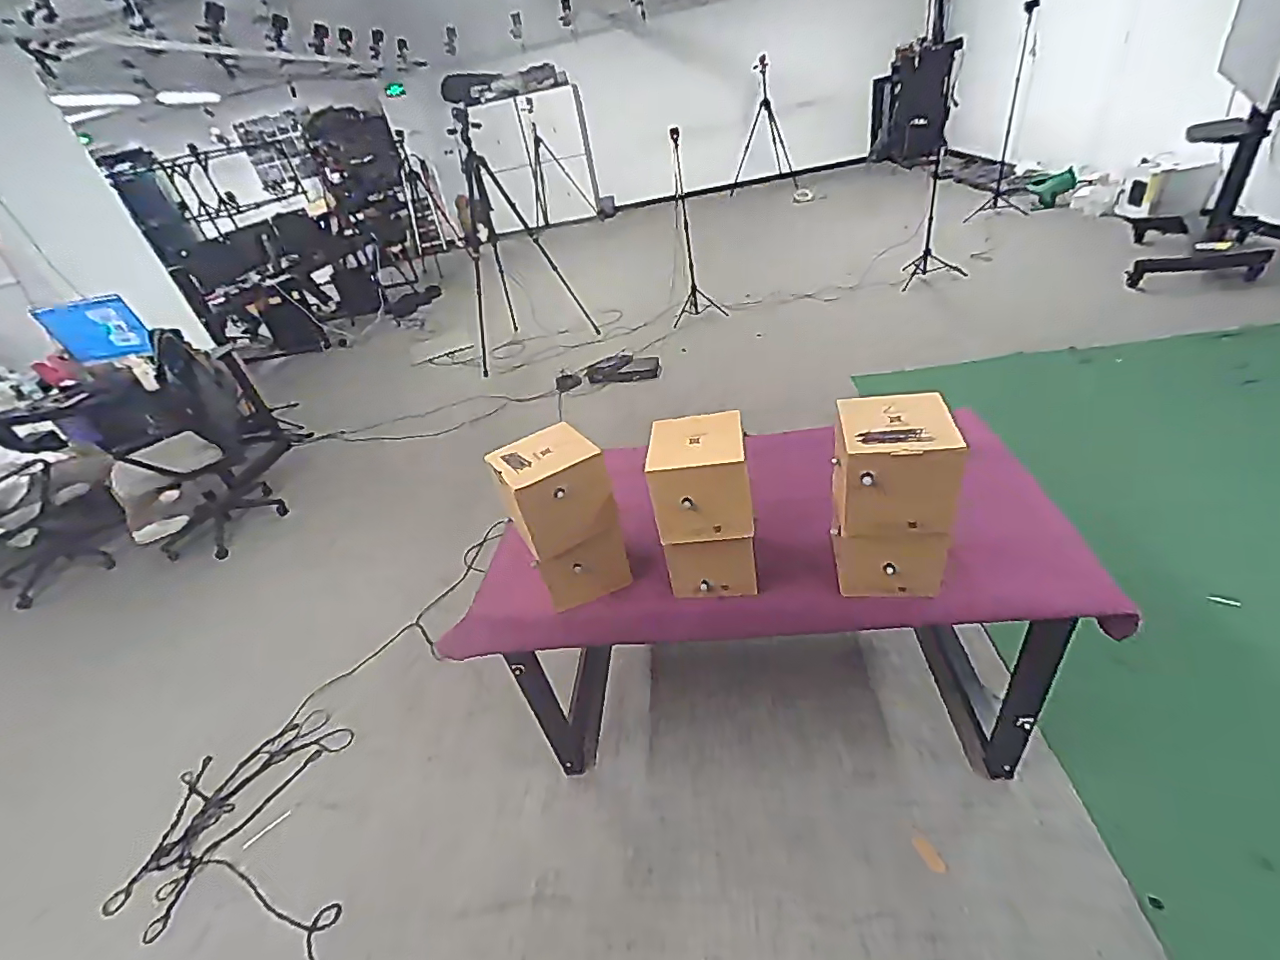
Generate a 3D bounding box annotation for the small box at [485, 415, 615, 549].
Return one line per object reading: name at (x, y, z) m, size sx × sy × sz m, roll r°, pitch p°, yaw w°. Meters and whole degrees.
small box at (-0.169, 0.004, 1.039) m, size 0.179 × 0.176 × 0.168 m, roll -26°, pitch 37°, yaw -21°

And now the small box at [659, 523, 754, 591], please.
small box at (0.139, 0.104, 1.094) m, size 0.168 × 0.176 × 0.179 m, roll -6°, pitch 35°, yaw 12°

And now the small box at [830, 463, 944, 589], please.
small box at (0.453, 0.088, 1.016) m, size 0.168 × 0.176 × 0.179 m, roll -2°, pitch 37°, yaw 14°

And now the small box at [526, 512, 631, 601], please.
small box at (-0.137, 0.127, 1.145) m, size 0.179 × 0.176 × 0.168 m, roll -20°, pitch 36°, yaw -10°

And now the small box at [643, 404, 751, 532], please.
small box at (0.109, -0.017, 0.988) m, size 0.168 × 0.176 × 0.179 m, roll -6°, pitch 34°, yaw 11°
